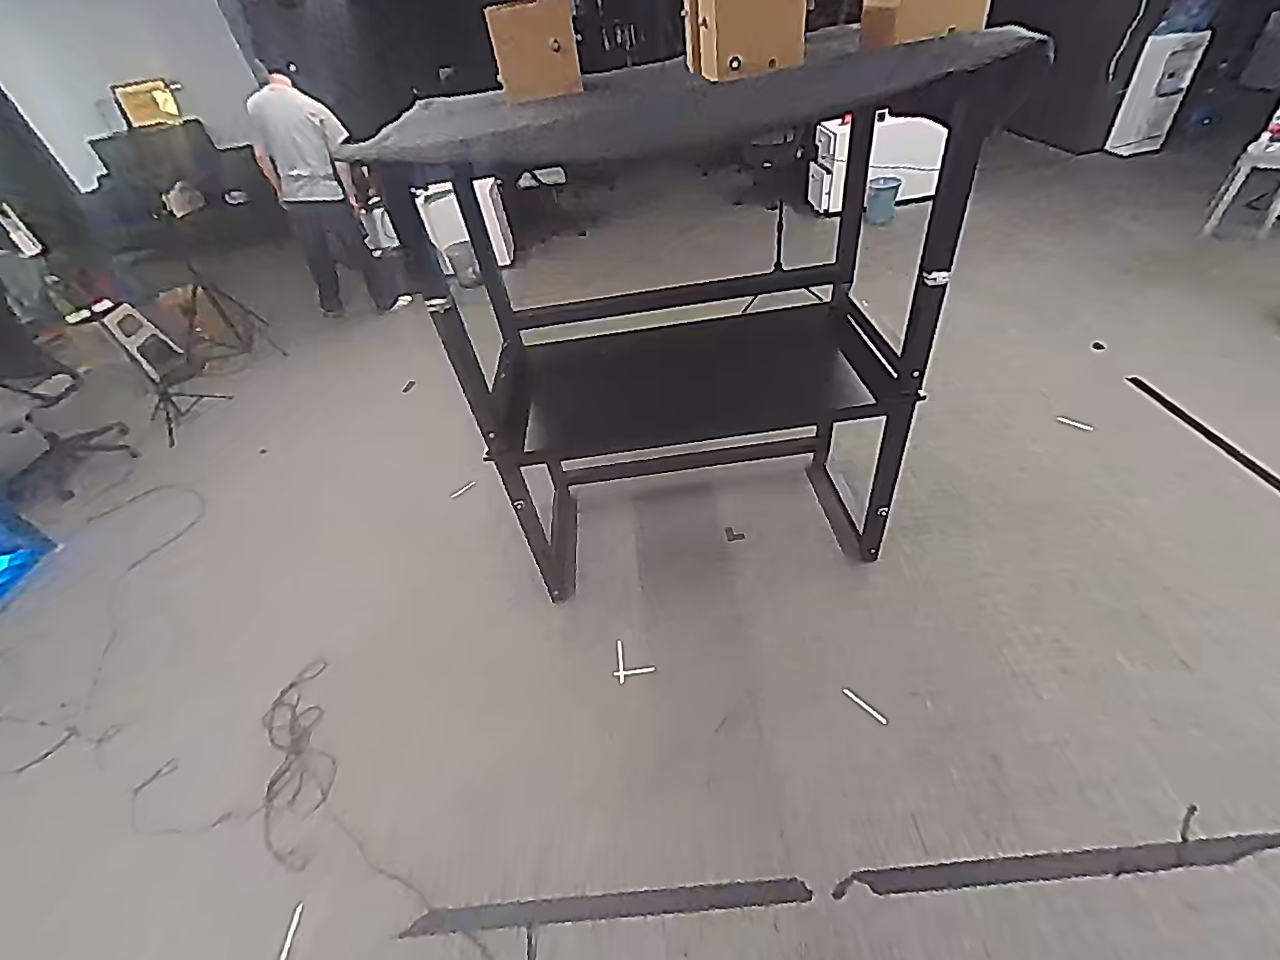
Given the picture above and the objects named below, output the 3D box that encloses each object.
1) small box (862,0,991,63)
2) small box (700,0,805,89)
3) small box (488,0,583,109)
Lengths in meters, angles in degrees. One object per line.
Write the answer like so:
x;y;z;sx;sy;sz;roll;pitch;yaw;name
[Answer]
0.531;-0.896;1.006;0.168;0.176;0.179;-9;42;2;small box
0.215;-0.874;1.044;0.168;0.176;0.179;-9;42;1;small box
-0.225;-0.957;1.214;0.179;0.176;0.168;-10;43;0;small box
